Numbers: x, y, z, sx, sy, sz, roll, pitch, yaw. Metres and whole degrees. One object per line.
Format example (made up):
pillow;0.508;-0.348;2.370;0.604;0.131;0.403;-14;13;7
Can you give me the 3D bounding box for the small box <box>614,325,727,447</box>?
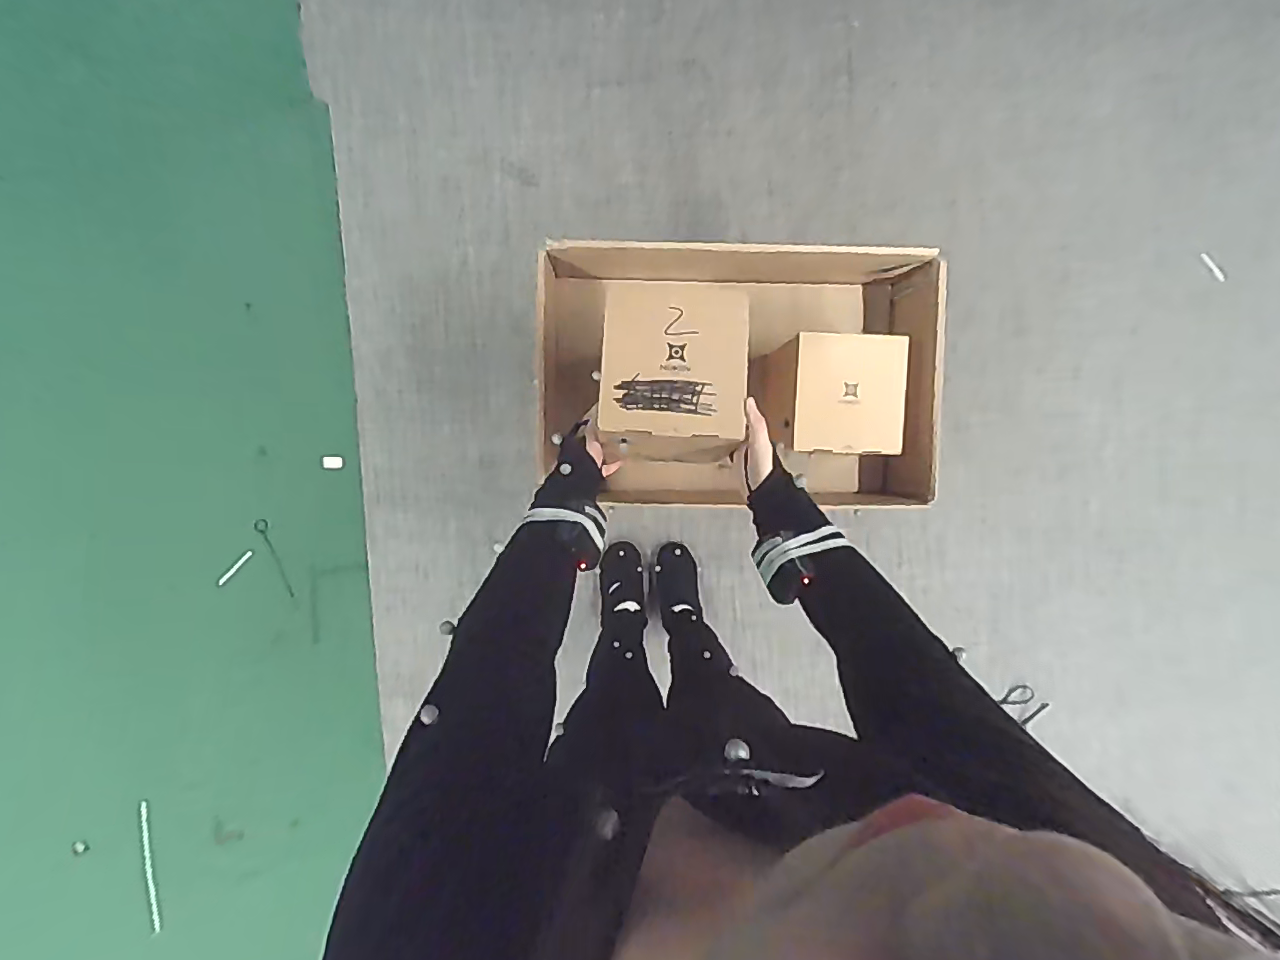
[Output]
small box;0.042;-0.141;0.862;0.168;0.176;0.179;-1;95;-1
